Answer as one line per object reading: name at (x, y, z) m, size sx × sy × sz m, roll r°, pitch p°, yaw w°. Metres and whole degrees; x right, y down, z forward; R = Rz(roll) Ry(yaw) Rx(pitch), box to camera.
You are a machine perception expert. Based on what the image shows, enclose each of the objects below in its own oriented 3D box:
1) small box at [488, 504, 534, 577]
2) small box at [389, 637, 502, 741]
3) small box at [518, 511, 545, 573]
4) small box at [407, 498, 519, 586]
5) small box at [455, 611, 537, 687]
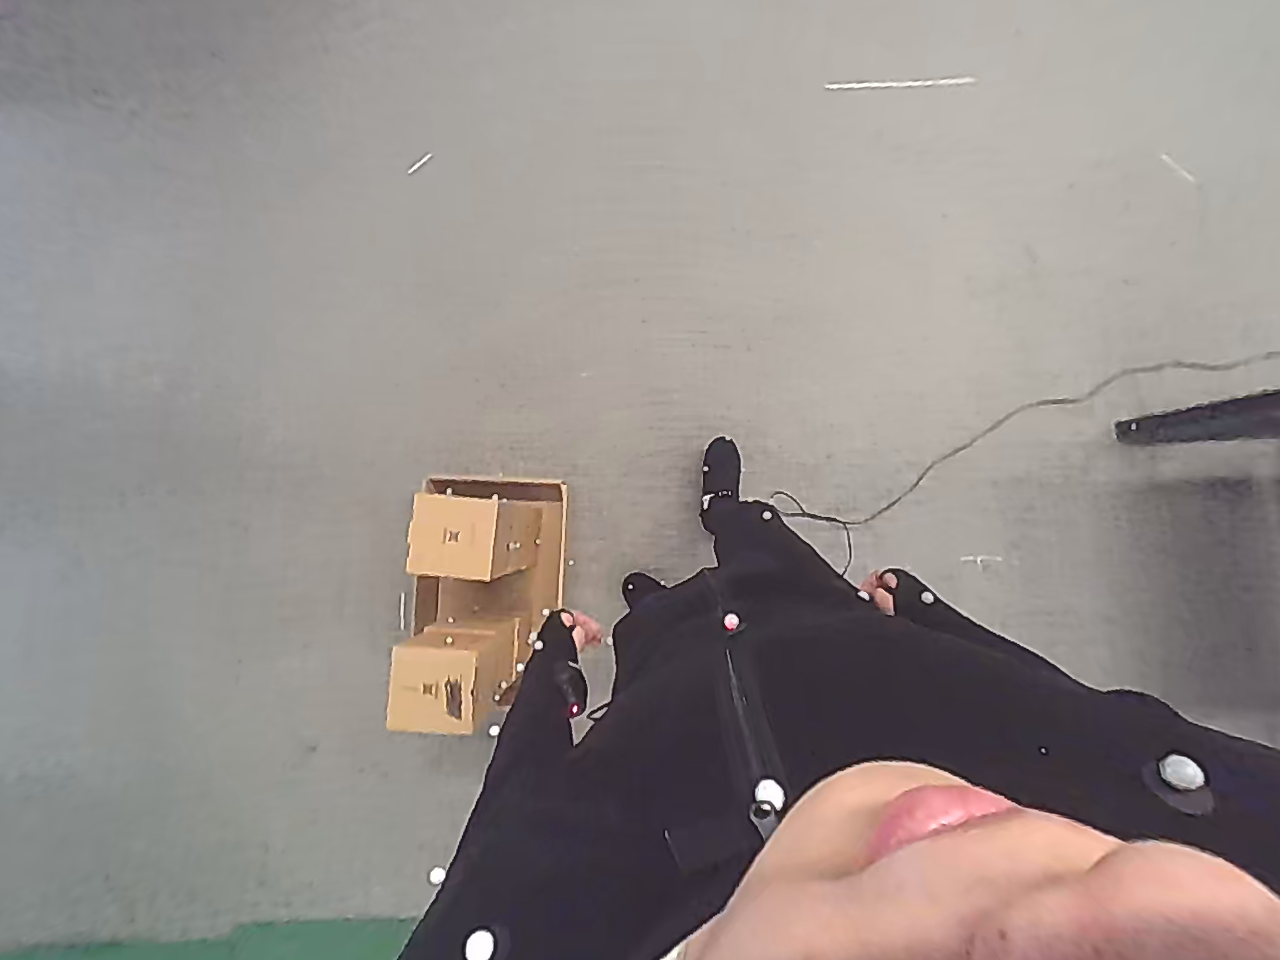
small box at (-0.374, 0.145, 1.340) m, size 0.179 × 0.176 × 0.168 m, roll 5°, pitch 85°, yaw 2°
small box at (-0.404, 0.436, 1.151) m, size 0.179 × 0.176 × 0.168 m, roll 2°, pitch 84°, yaw 3°
small box at (-0.373, 0.167, 1.502) m, size 0.179 × 0.176 × 0.168 m, roll 3°, pitch 85°, yaw 1°
small box at (-0.377, 0.132, 1.177) m, size 0.179 × 0.176 × 0.168 m, roll 5°, pitch 86°, yaw 1°
small box at (-0.393, 0.455, 1.478) m, size 0.179 × 0.176 × 0.168 m, roll 3°, pitch 85°, yaw 2°
